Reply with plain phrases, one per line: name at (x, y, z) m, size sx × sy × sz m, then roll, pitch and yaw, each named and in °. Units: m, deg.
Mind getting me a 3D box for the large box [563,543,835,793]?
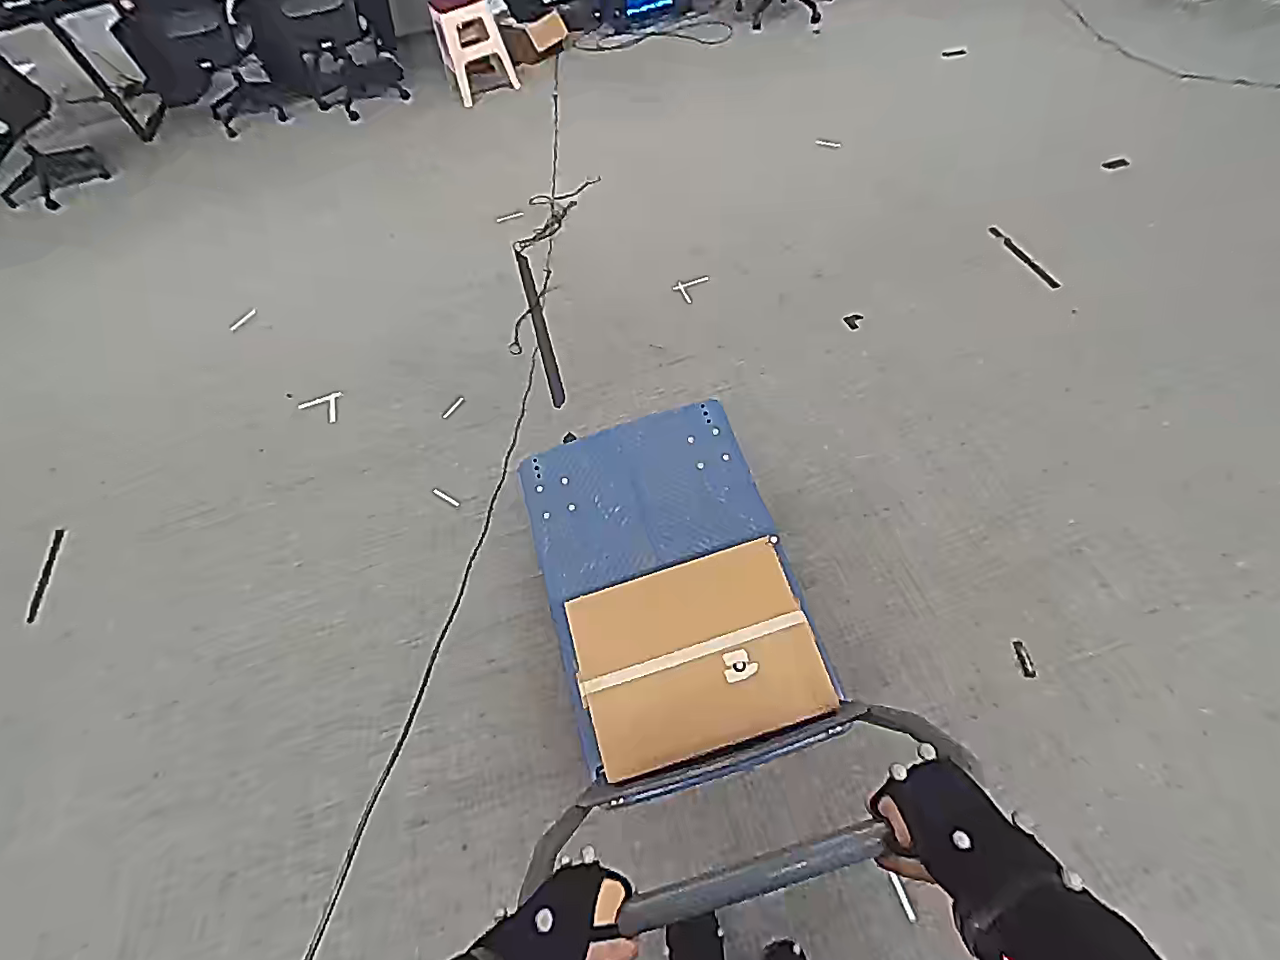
large box at (0.104, 0.371, 1.069) m, size 0.408 × 0.320 × 0.320 m, roll -18°, pitch 66°, yaw -2°
